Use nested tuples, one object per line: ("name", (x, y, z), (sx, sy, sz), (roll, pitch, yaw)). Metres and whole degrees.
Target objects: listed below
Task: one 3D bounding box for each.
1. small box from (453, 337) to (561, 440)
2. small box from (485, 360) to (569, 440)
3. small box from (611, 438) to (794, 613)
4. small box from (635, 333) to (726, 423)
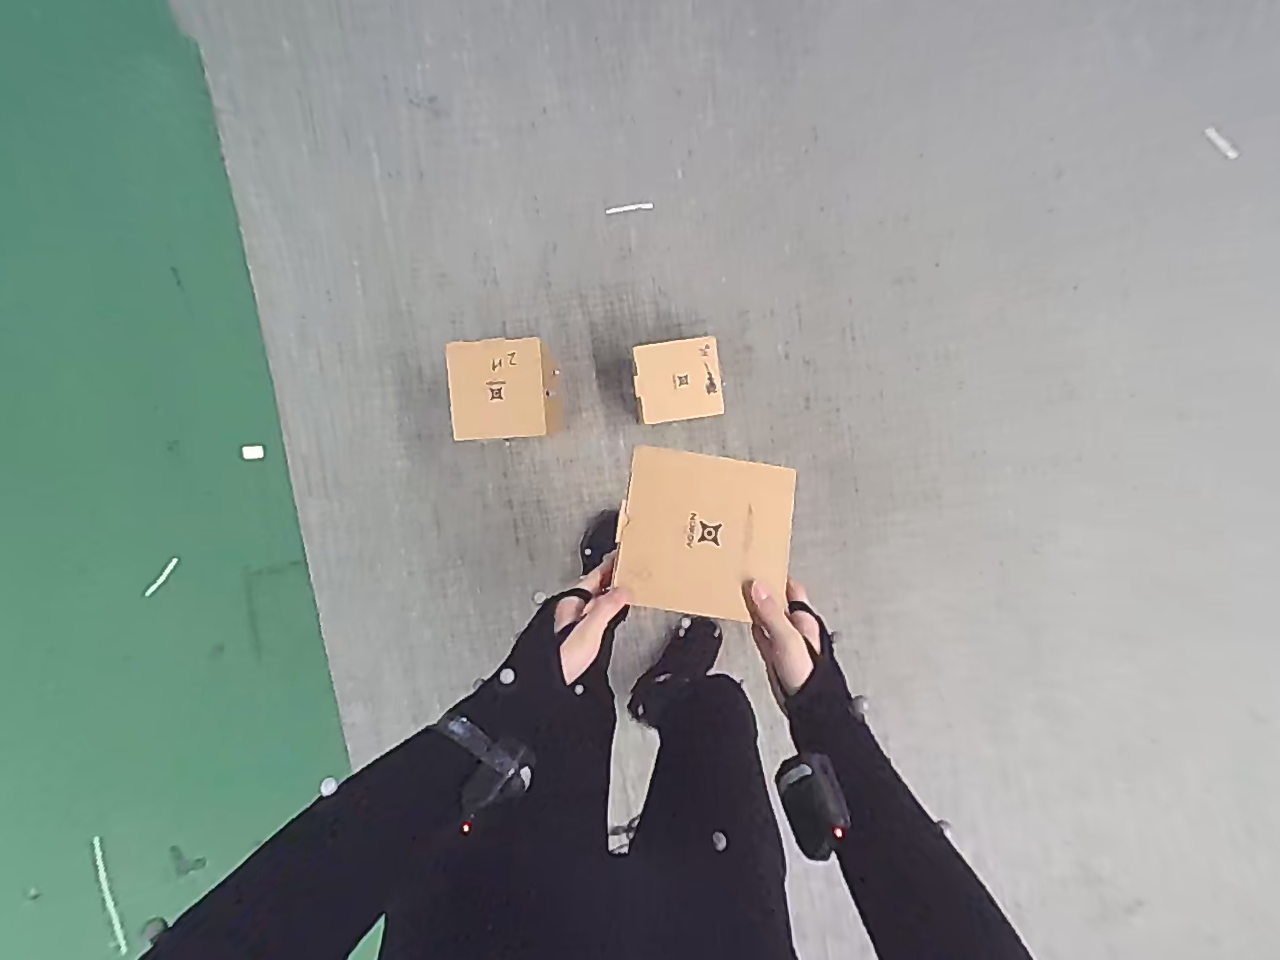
("small box", (-0.246, -0.169, 1.038), (0.168, 0.176, 0.179), (-3, 94, -2))
("small box", (-0.255, -0.182, 1.202), (0.168, 0.176, 0.179), (-5, 94, -1))
("small box", (0.066, 0.062, 0.639), (0.179, 0.176, 0.168), (8, 78, 0))
("small box", (0.086, -0.220, 1.206), (0.179, 0.176, 0.168), (-8, 95, 0))
